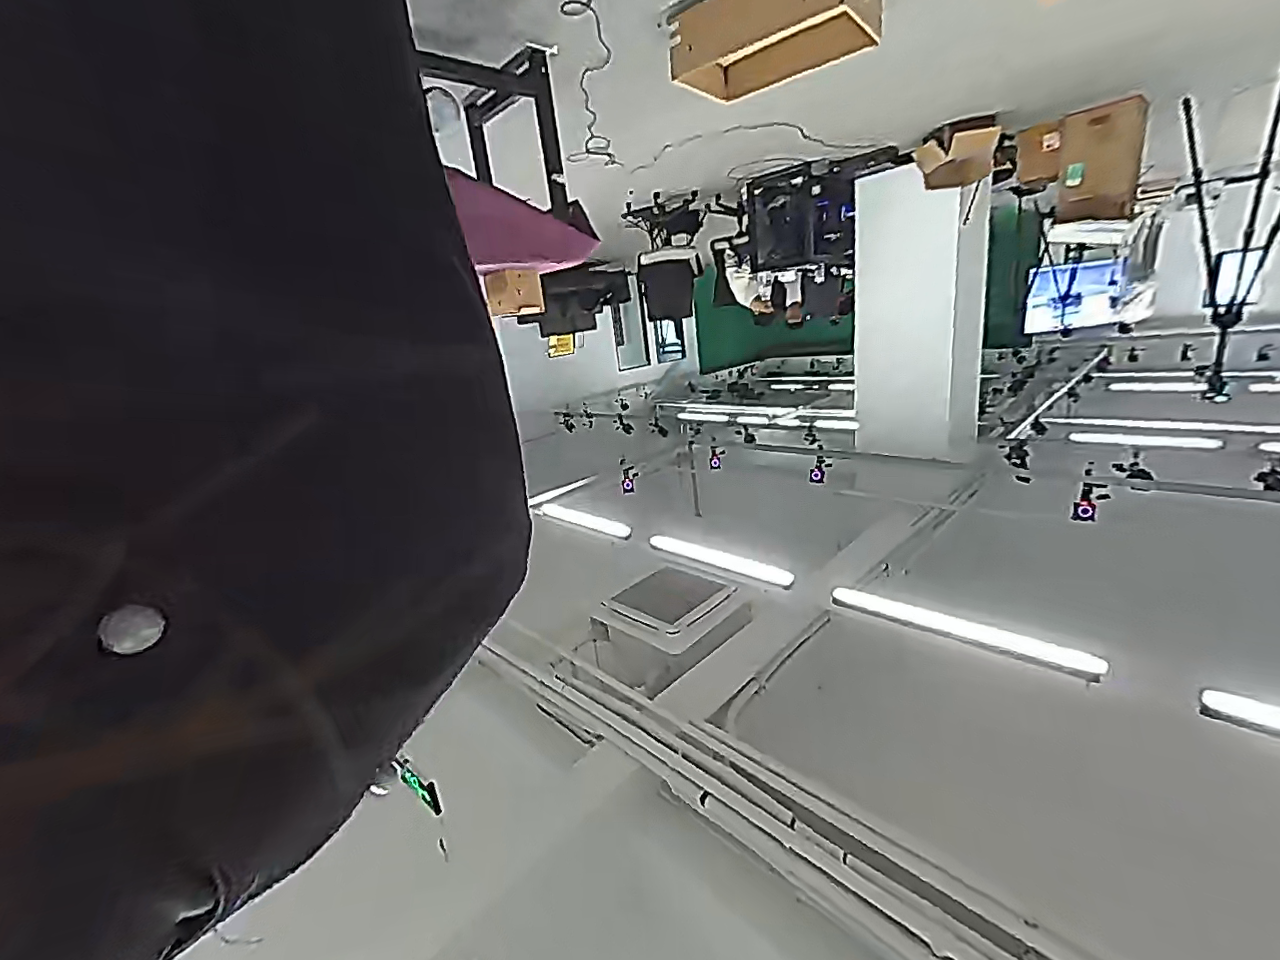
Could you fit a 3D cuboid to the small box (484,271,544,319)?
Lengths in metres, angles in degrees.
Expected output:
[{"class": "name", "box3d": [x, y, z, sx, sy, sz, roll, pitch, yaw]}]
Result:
[{"class": "small box", "box3d": [-0.534, -0.781, 2.276, 0.179, 0.176, 0.168, 8, -158, 40]}]
